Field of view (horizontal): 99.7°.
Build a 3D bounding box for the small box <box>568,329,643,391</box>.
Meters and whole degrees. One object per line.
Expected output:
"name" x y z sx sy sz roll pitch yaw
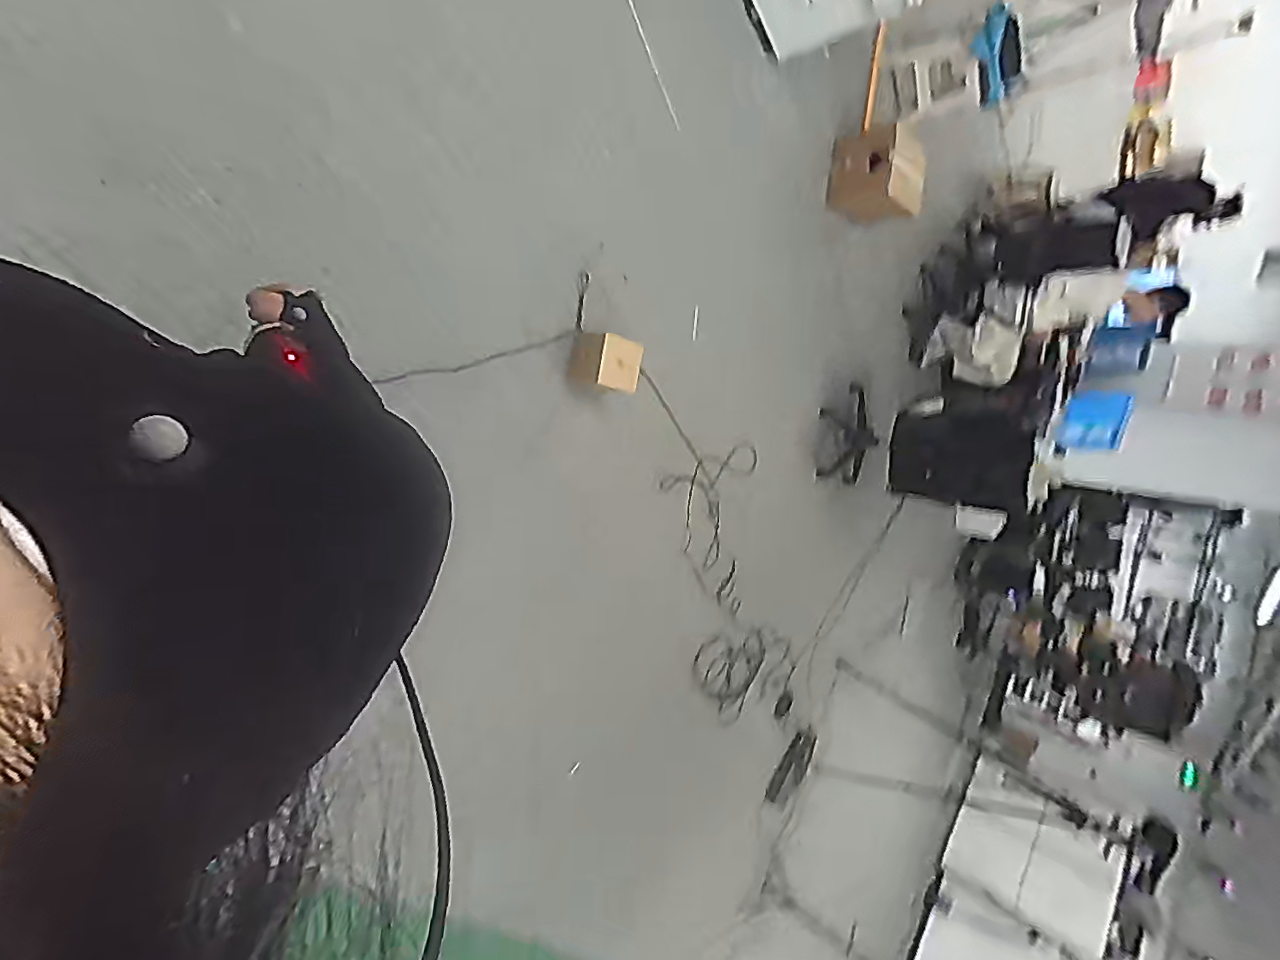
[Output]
"small box" -0.118 -0.401 1.817 0.179 0.176 0.168 6 96 -45
